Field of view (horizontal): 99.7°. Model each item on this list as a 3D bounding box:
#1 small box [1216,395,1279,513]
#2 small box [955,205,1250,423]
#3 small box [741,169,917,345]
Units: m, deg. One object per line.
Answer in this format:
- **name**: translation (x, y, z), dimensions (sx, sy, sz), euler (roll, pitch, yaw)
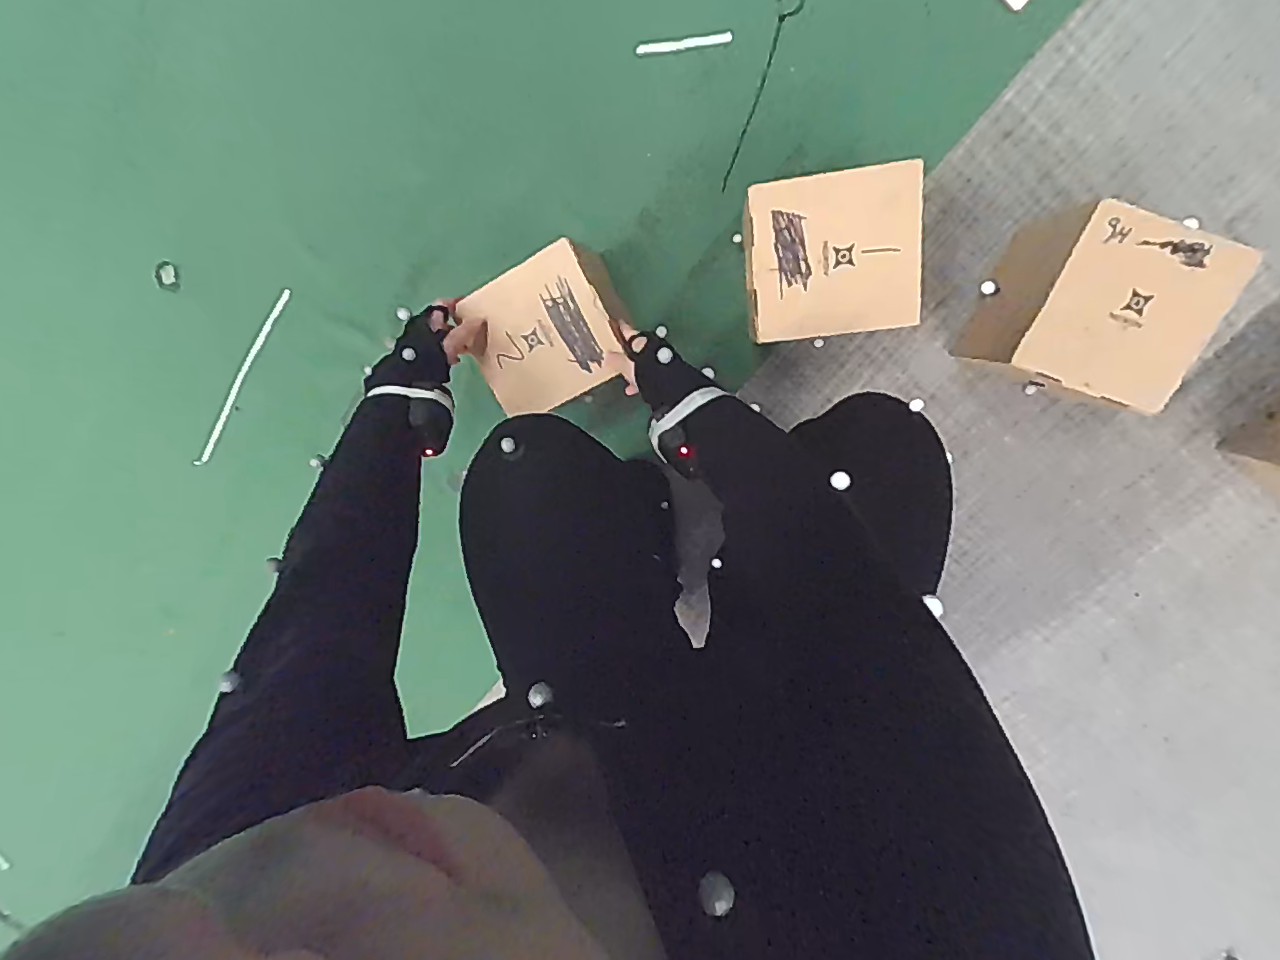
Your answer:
- **small box**: translation (0.868, -0.021, 0.629), dimensions (0.179, 0.176, 0.168), euler (37, 107, -4)
- **small box**: translation (0.507, -0.190, 0.635), dimensions (0.168, 0.176, 0.179), euler (22, 109, 1)
- **small box**: translation (0.215, -0.256, 0.660), dimensions (0.179, 0.176, 0.168), euler (-4, 106, 9)
